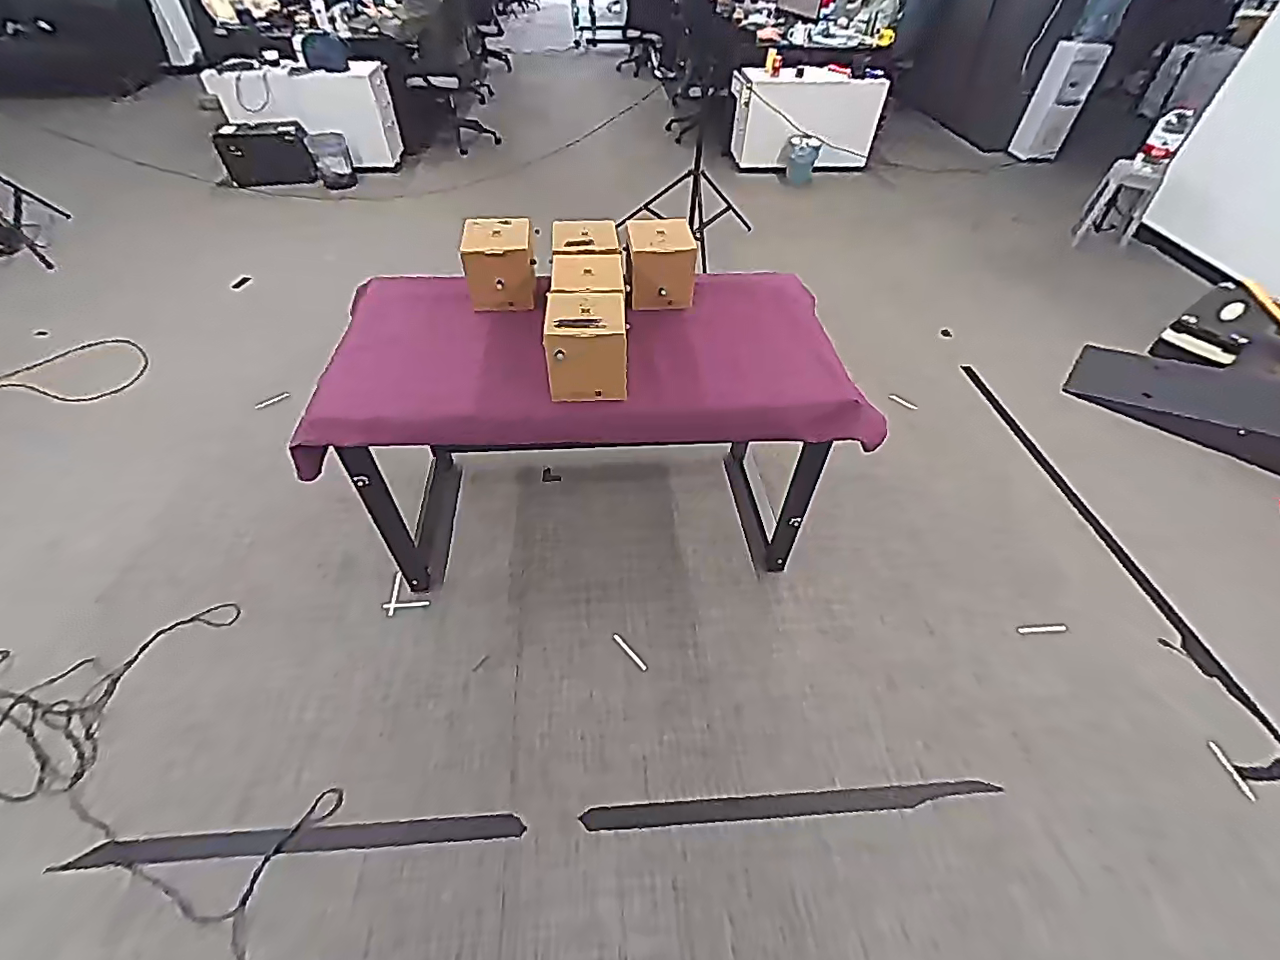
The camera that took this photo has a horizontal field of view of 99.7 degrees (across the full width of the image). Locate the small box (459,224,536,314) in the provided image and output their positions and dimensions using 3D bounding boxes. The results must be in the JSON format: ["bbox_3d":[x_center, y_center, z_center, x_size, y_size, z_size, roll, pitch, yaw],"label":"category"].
[{"bbox_3d":[-0.369,-0.556,1.434,0.168,0.176,0.179,-4,50,-5],"label":"small box"}]
